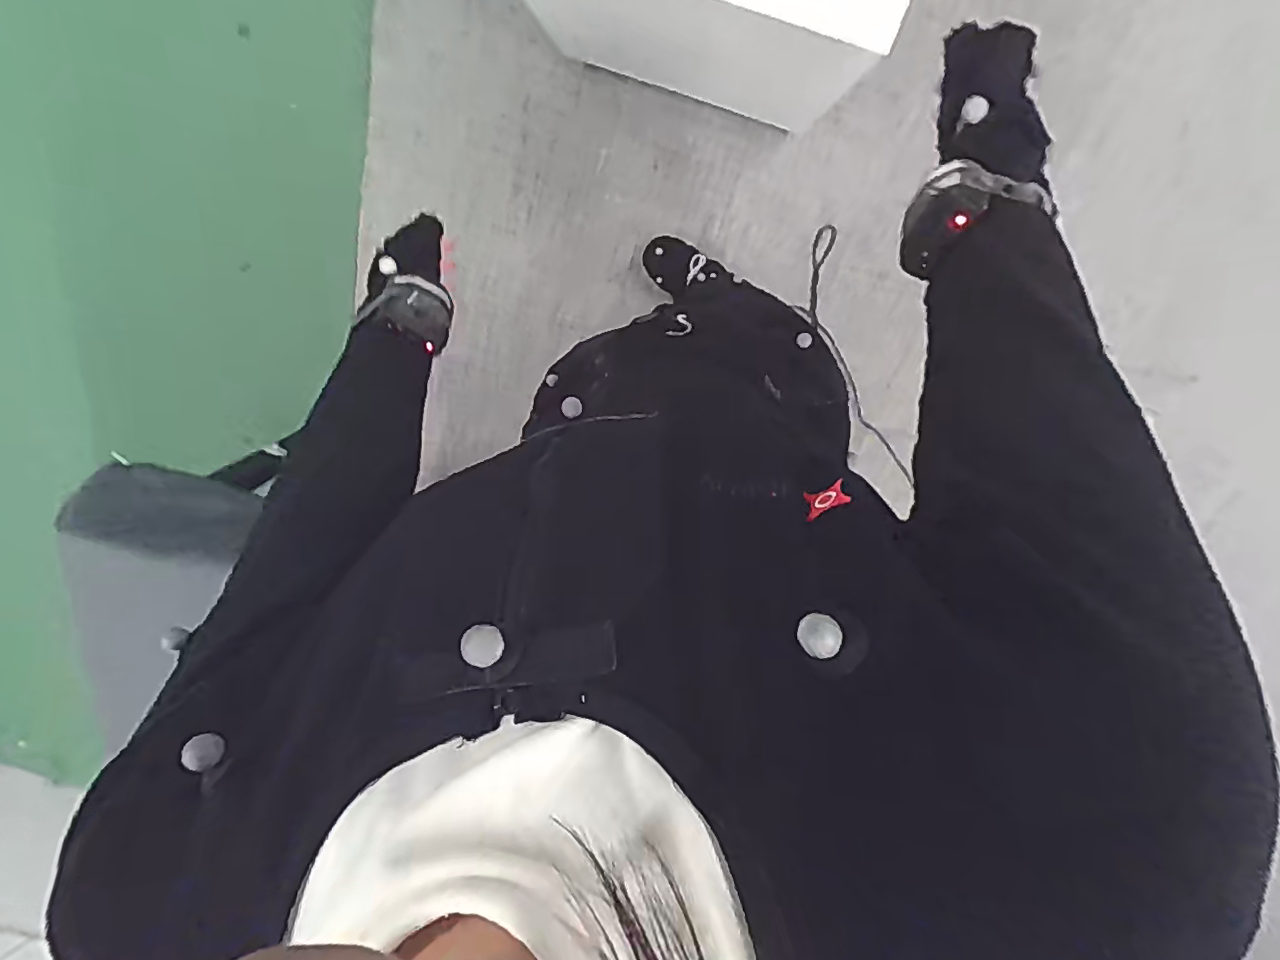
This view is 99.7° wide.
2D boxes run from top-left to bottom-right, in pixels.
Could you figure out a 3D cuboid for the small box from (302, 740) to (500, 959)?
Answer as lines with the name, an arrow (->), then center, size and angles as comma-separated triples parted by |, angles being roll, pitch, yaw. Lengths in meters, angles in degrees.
small box -> -0.294, 0.474, 0.686 | 0.168, 0.176, 0.179 | 20, 119, -1
